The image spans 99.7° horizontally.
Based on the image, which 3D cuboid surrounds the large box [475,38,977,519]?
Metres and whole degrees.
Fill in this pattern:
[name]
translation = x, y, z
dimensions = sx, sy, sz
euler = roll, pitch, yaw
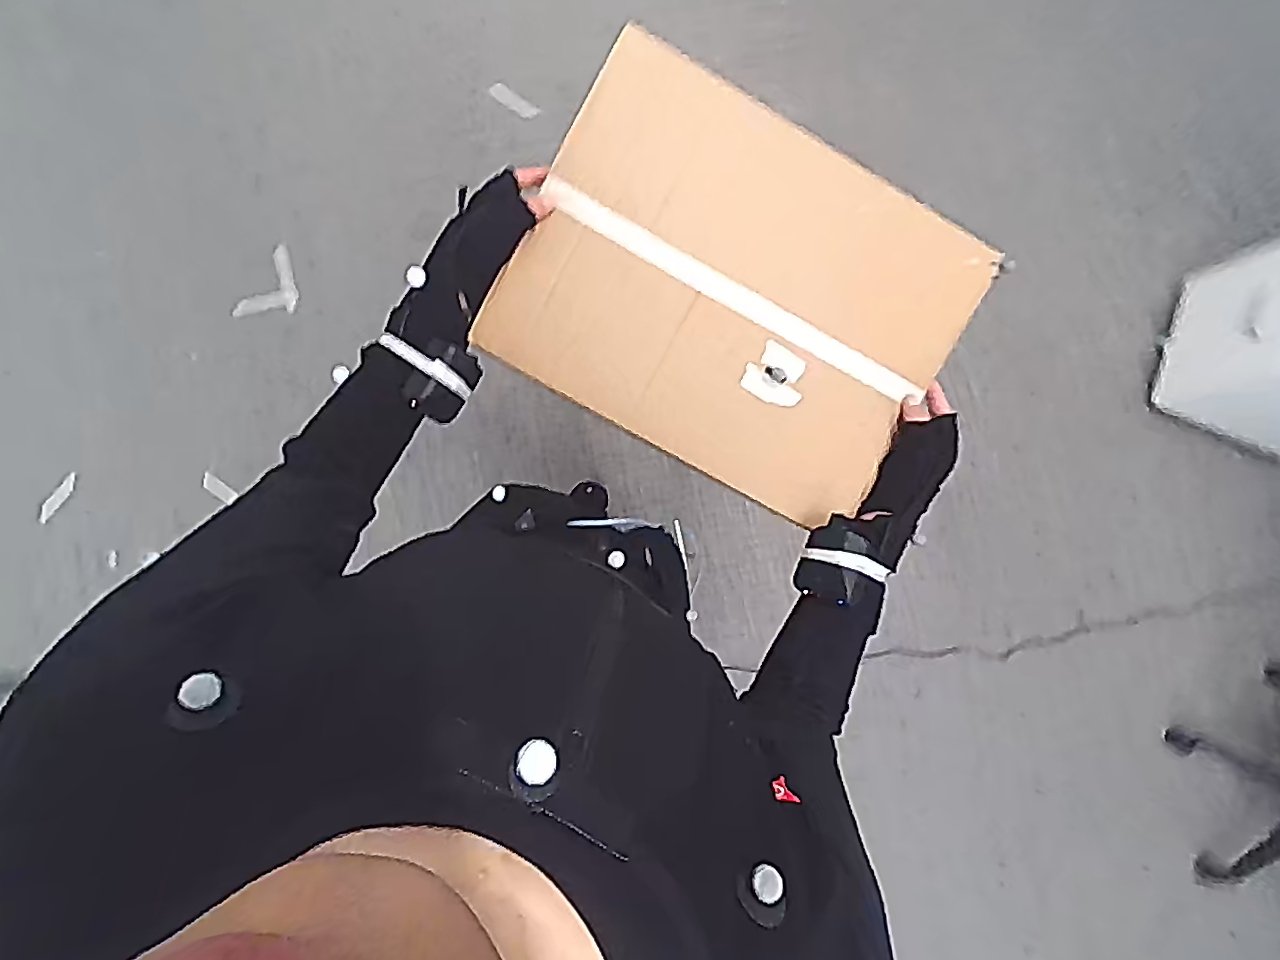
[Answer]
[large box]
translation = 0.075, -0.196, 0.662
dimensions = 0.408, 0.320, 0.320
euler = 27, 95, -6
